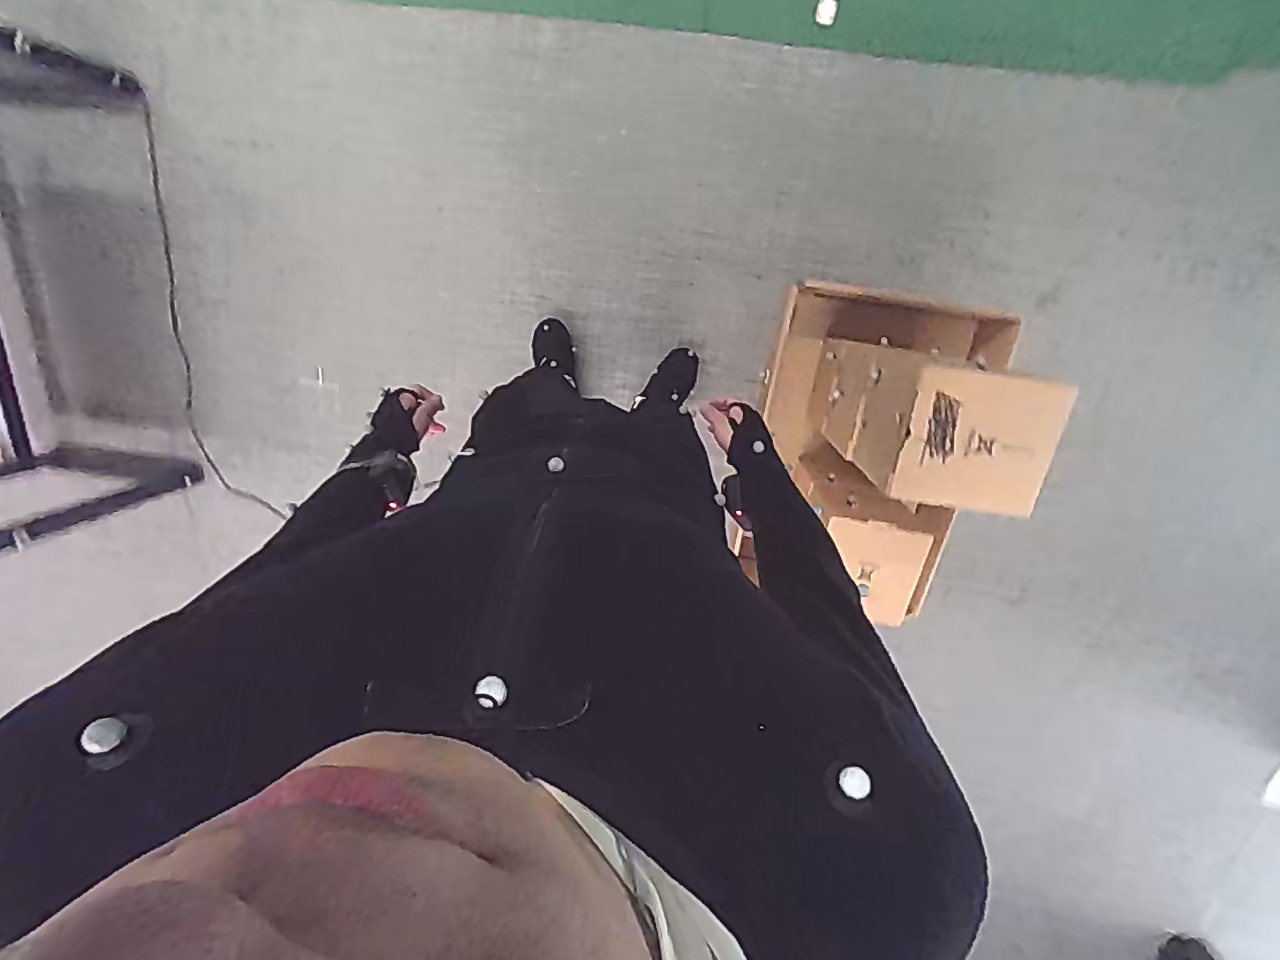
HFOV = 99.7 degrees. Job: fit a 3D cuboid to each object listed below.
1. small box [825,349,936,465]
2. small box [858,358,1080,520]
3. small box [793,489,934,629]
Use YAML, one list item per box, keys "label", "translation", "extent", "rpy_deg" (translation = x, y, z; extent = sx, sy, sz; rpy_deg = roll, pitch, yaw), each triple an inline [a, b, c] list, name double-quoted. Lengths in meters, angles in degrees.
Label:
- label: "small box"
  translation: [0.421, -0.113, 0.874]
  extent: [0.179, 0.176, 0.168]
  rpy_deg: [10, 109, 3]
- label: "small box"
  translation: [0.412, -0.064, 0.717]
  extent: [0.179, 0.176, 0.168]
  rpy_deg: [9, 109, 2]
- label: "small box"
  translation: [0.381, 0.130, 0.960]
  extent: [0.168, 0.176, 0.179]
  rpy_deg: [12, 110, 4]
